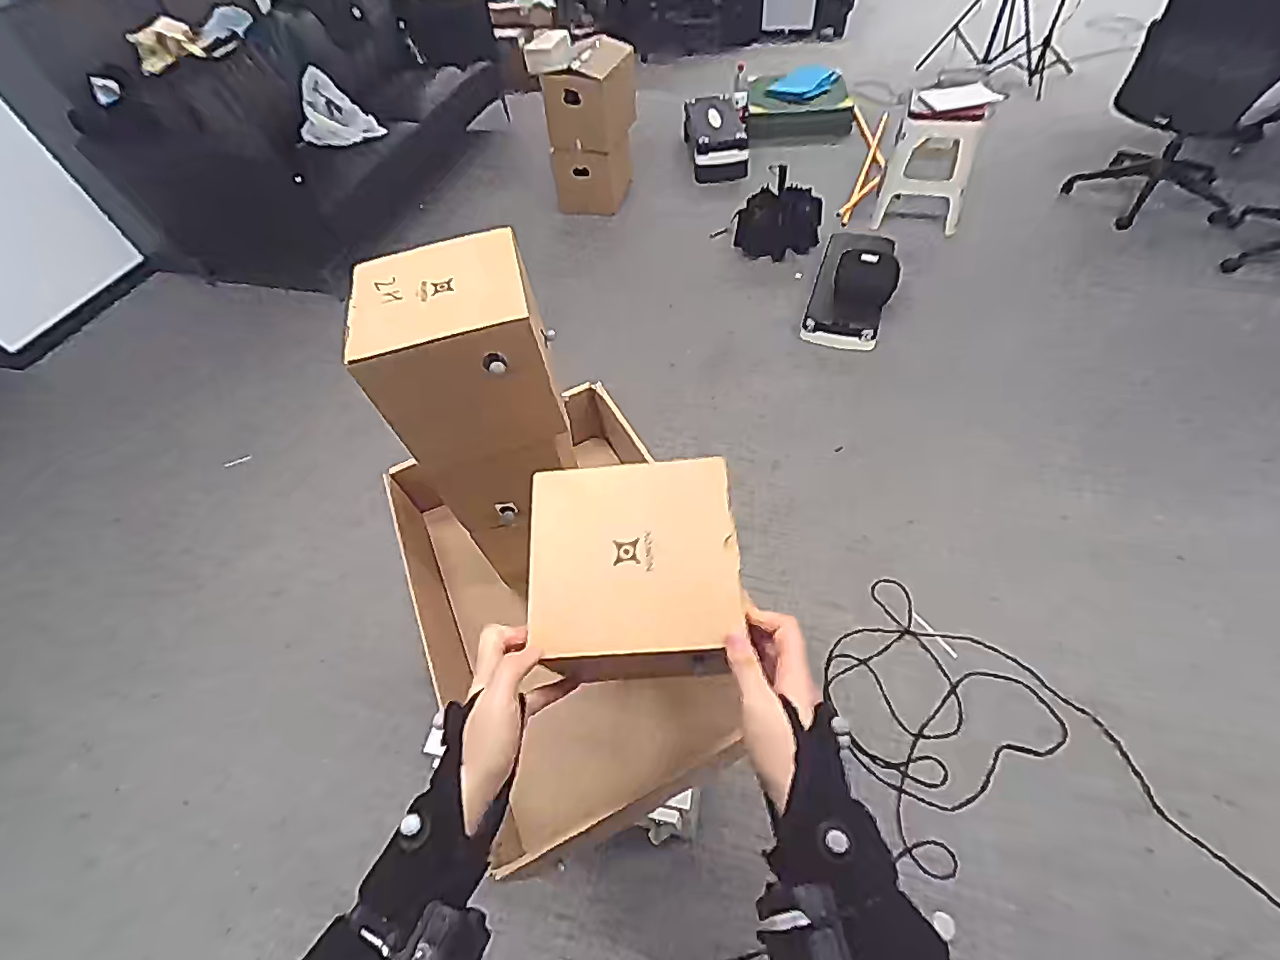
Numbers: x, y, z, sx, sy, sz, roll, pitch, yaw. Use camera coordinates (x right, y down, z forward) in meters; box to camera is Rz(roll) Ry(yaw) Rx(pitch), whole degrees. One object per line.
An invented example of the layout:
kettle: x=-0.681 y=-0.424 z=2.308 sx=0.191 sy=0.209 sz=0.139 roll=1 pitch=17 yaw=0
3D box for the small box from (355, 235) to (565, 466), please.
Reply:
small box: x=-0.191 y=-0.142 z=0.617 sx=0.179 sy=0.176 sz=0.168 roll=-16 pitch=53 yaw=-2

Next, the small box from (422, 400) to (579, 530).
small box: x=-0.185 y=-0.055 z=0.758 sx=0.168 sy=0.176 sz=0.179 roll=-13 pitch=55 yaw=0

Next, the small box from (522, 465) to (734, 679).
small box: x=-0.006 y=0.100 z=0.542 sx=0.179 sy=0.176 sz=0.168 roll=-4 pitch=62 yaw=2
